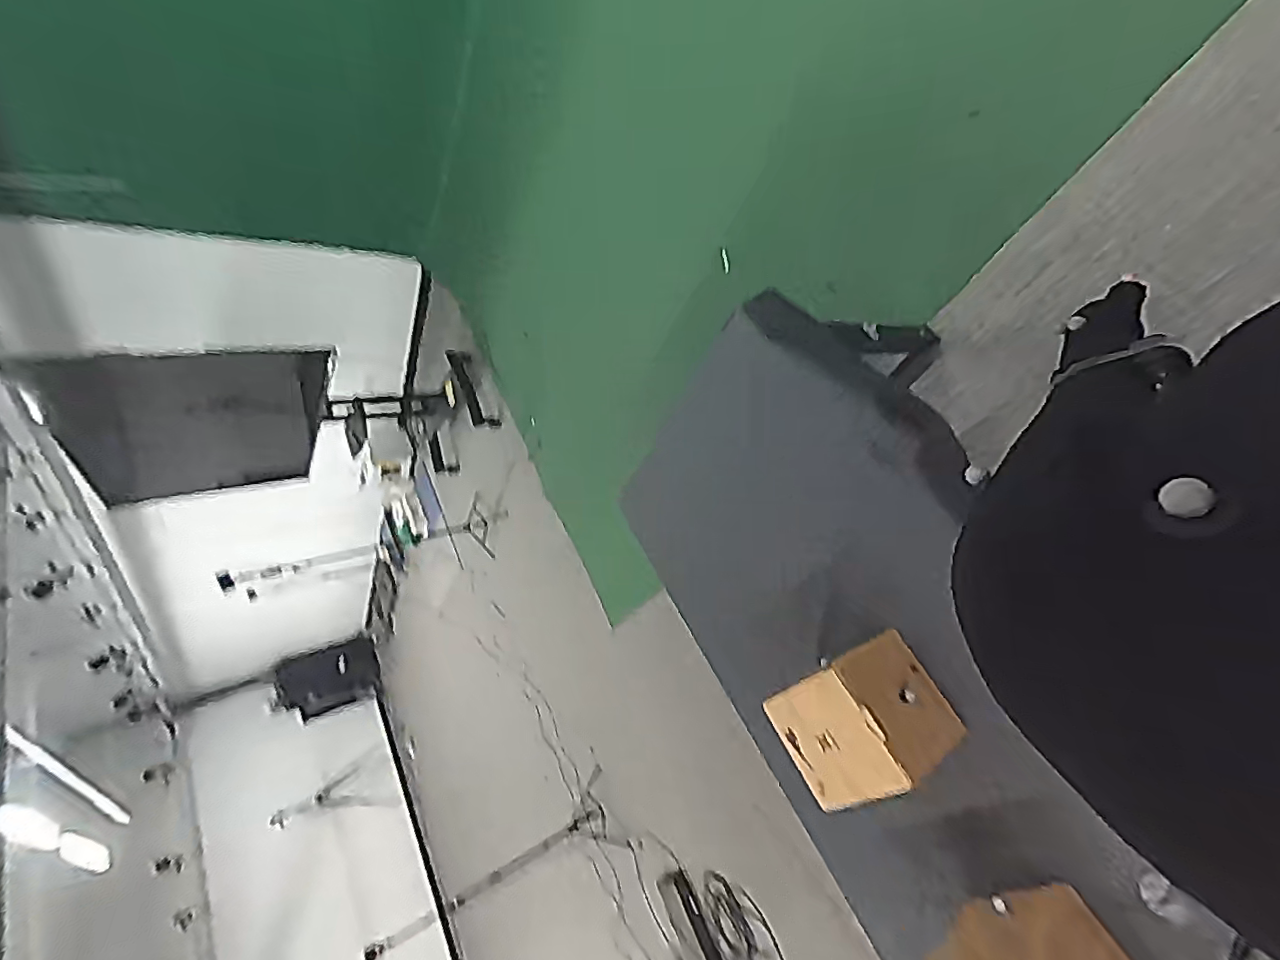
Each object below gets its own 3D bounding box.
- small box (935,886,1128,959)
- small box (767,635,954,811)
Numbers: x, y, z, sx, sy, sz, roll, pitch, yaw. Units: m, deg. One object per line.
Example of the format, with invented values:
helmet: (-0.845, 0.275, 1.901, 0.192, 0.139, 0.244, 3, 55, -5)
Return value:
small box: (0.507, 0.651, 0.664, 0.179, 0.176, 0.168, 57, 137, 28)
small box: (0.336, 0.359, 0.815, 0.168, 0.176, 0.179, 59, 138, 24)
